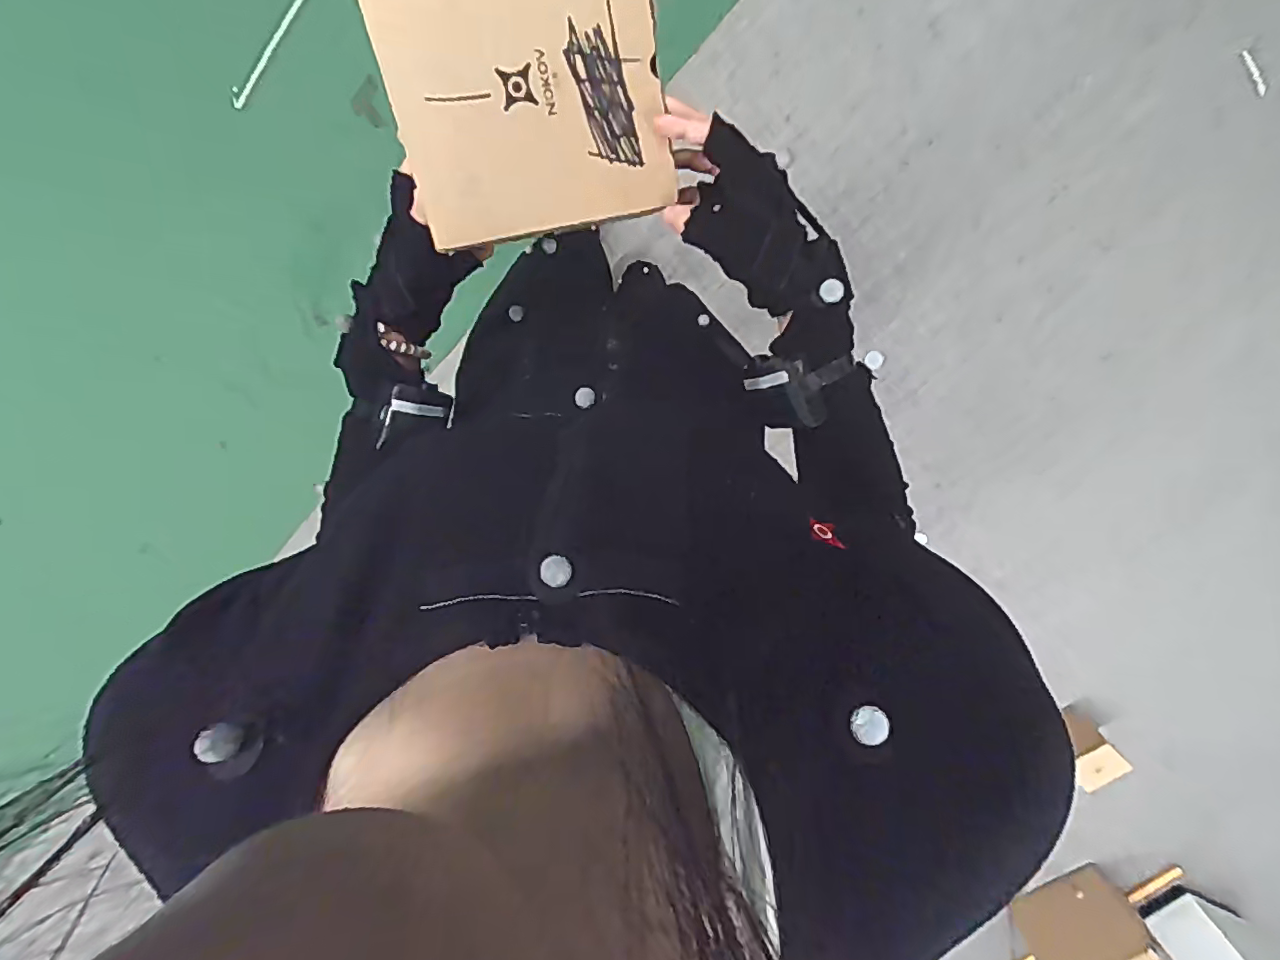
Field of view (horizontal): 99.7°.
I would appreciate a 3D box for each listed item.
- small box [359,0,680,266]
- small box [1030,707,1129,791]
[{"bbox_3d":[-0.081,-0.266,0.413,0.179,0.176,0.168,-12,114,-6],"label":"small box"},{"bbox_3d":[1.517,0.929,1.876,0.179,0.176,0.168,41,108,-16],"label":"small box"}]
